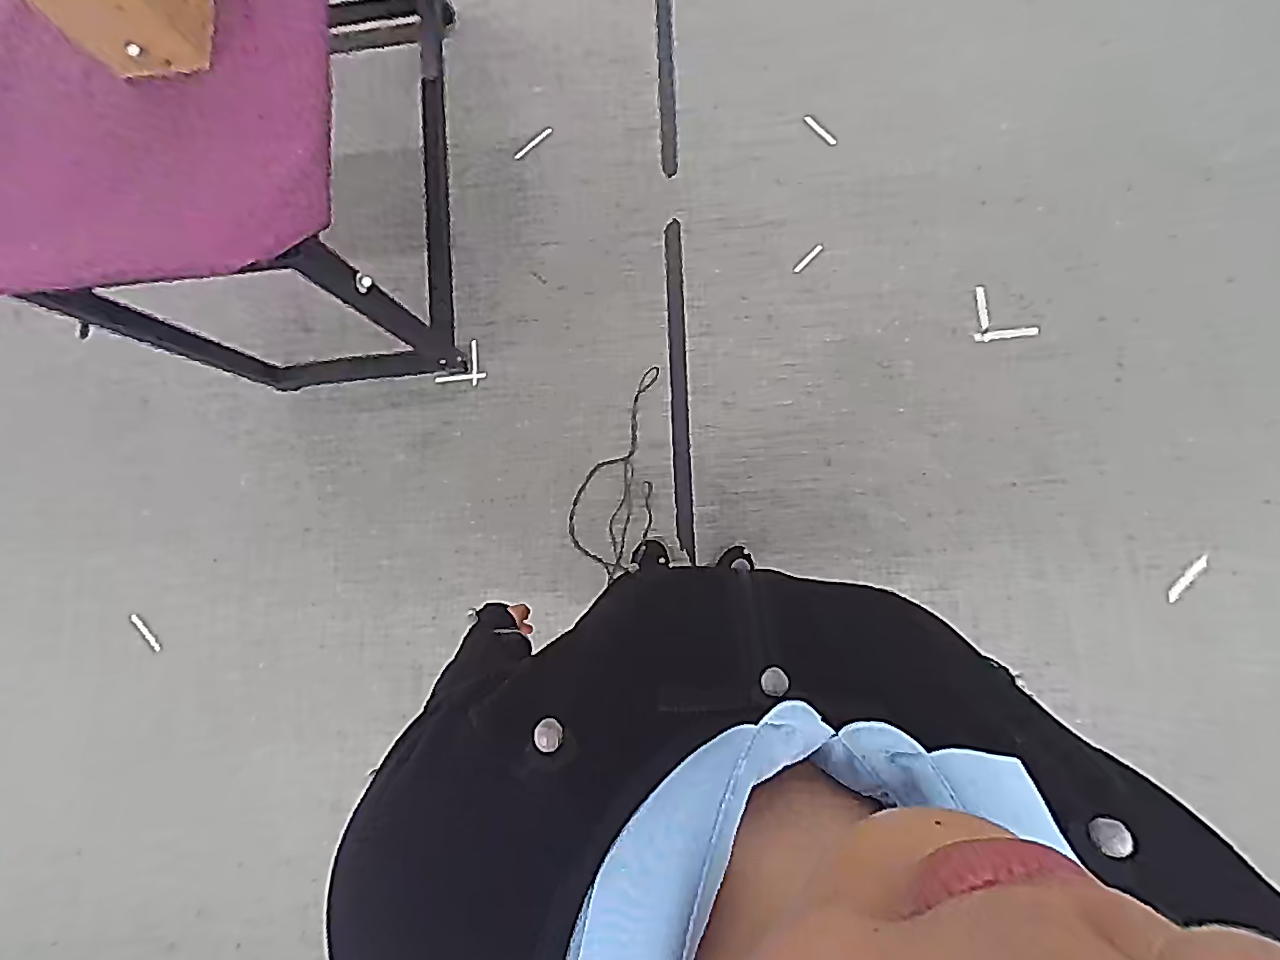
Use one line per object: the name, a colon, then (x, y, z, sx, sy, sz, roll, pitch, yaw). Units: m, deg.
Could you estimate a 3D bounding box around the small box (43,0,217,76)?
small box: (-0.809, -0.786, 0.848, 0.168, 0.176, 0.179, -3, 85, 5)
